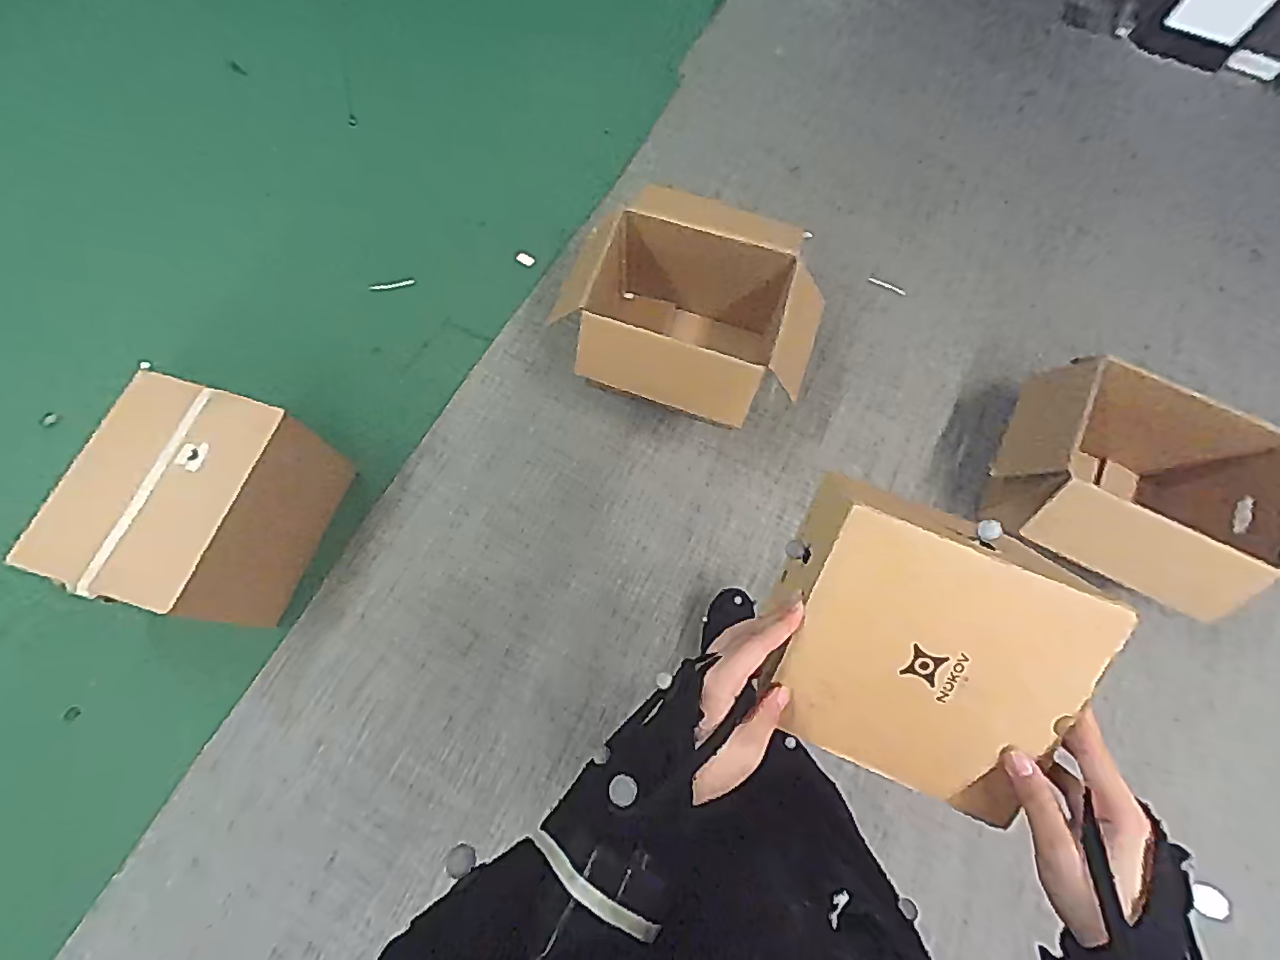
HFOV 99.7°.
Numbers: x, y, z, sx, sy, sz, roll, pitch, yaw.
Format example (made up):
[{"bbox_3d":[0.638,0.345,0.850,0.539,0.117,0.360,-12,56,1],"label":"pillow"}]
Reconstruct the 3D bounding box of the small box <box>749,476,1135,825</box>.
[{"bbox_3d":[0.196,0.104,0.417,0.179,0.176,0.168,22,102,8],"label":"small box"}]
